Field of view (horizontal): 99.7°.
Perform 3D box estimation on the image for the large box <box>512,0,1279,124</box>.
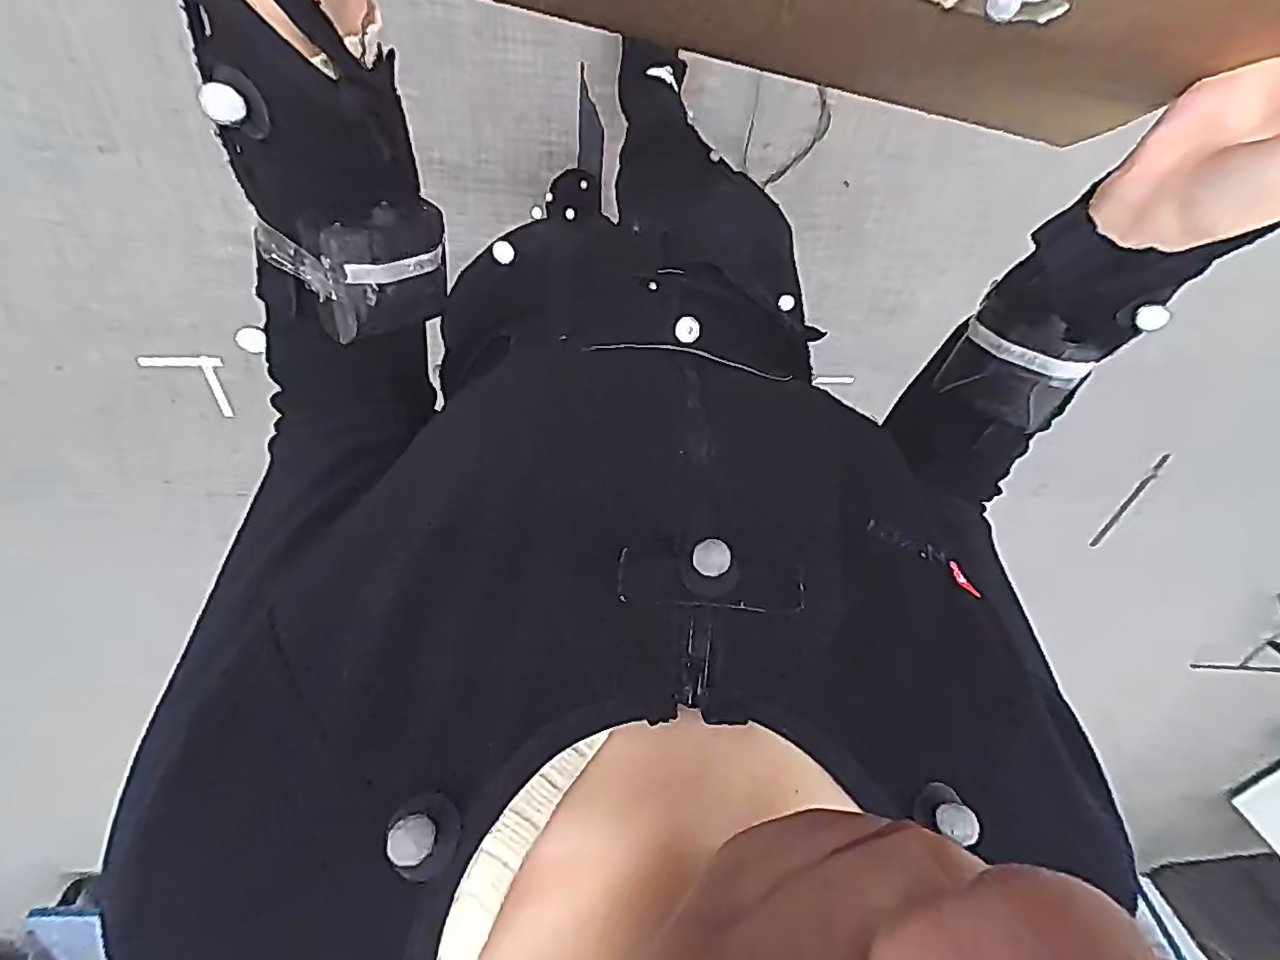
[{"bbox_3d":[0.102,-0.352,0.128,0.408,0.320,0.320,6,103,-9],"label":"large box"}]
